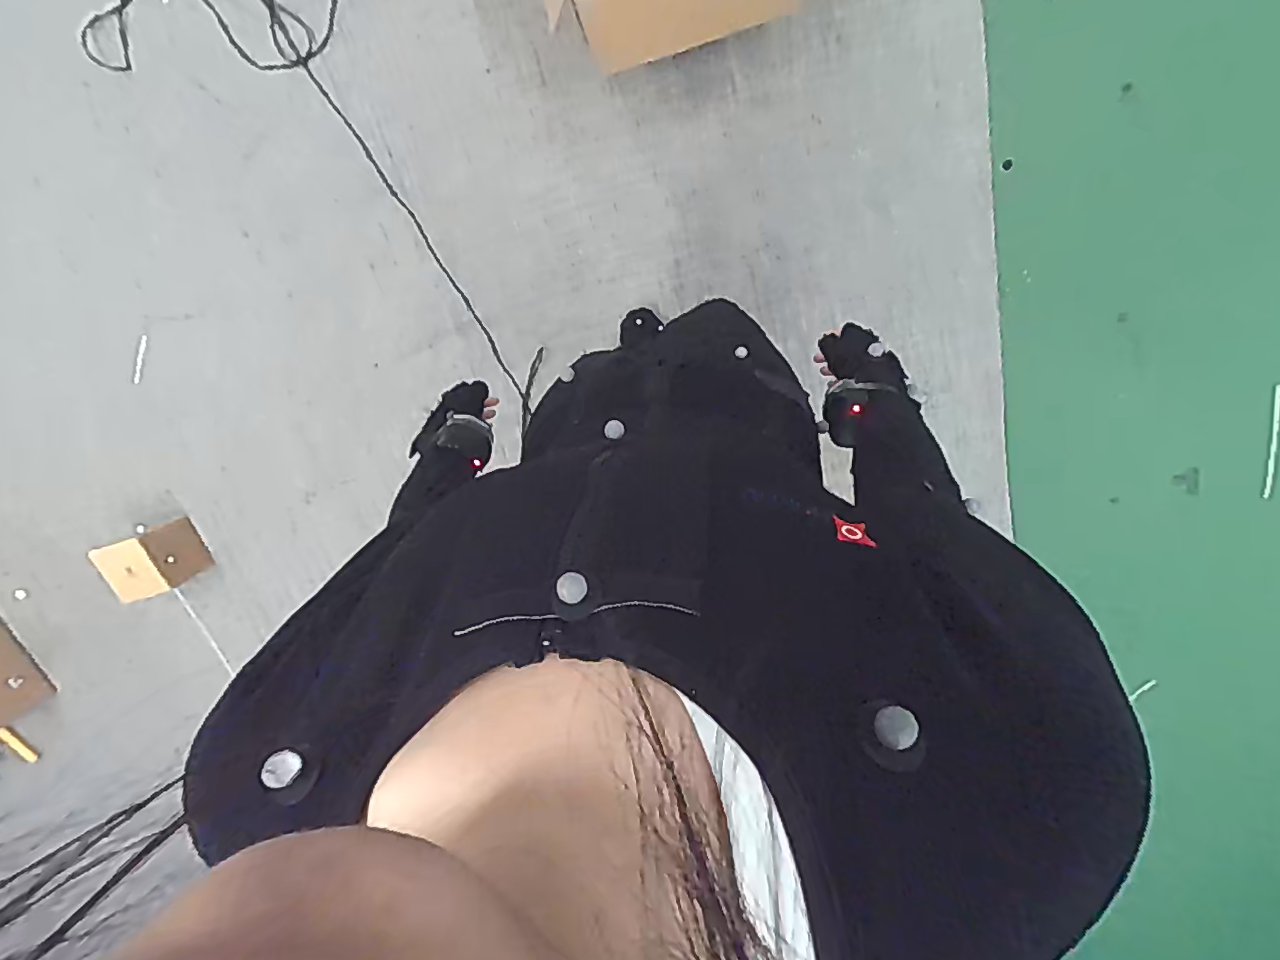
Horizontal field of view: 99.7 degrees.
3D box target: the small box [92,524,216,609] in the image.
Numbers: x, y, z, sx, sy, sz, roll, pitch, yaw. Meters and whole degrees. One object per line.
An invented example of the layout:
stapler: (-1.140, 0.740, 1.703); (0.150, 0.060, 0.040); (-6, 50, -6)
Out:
small box: (-1.417, 0.244, 1.589); (0.168, 0.176, 0.179); (-16, 109, 8)
